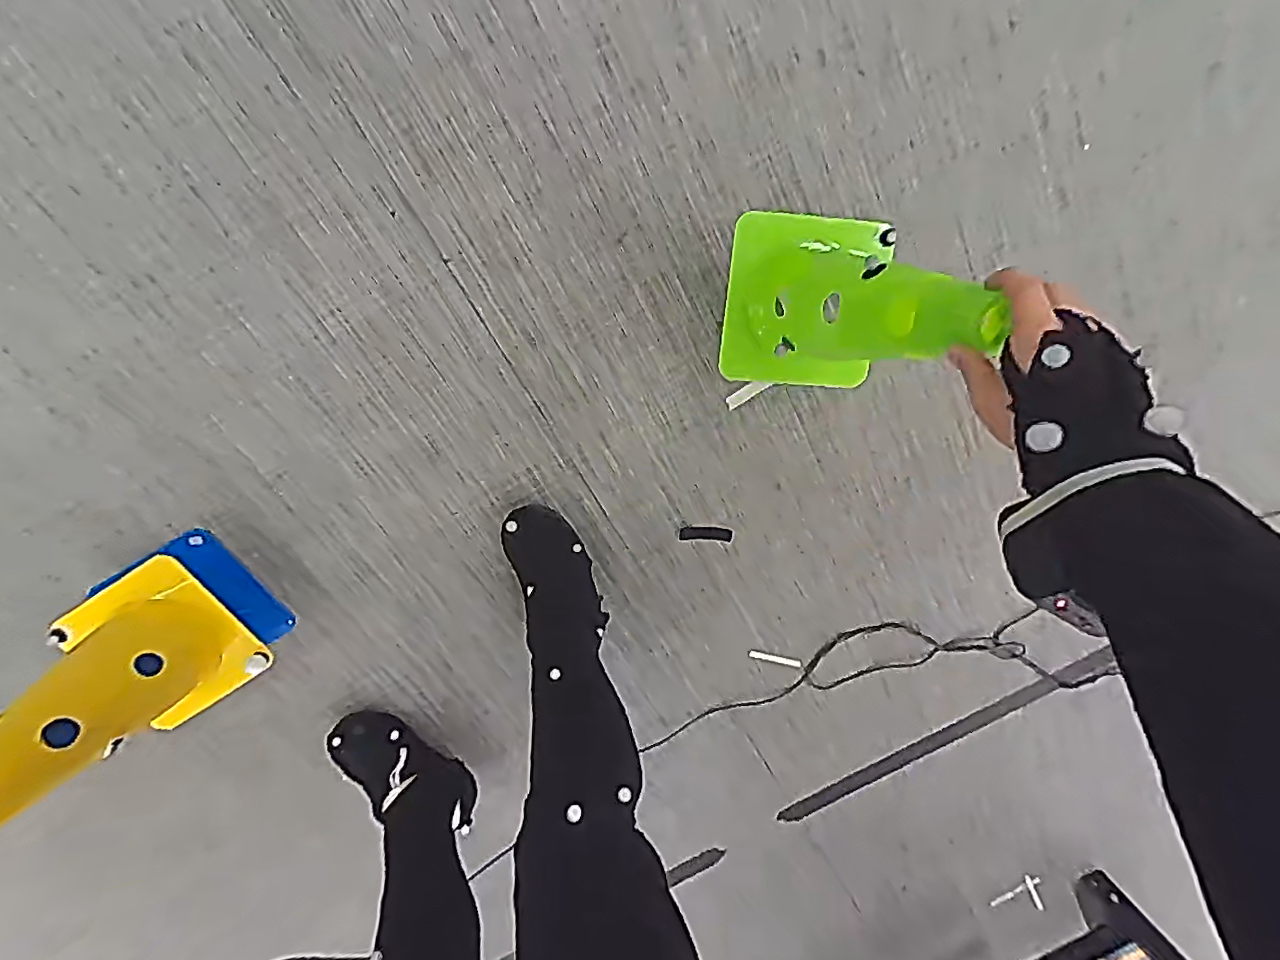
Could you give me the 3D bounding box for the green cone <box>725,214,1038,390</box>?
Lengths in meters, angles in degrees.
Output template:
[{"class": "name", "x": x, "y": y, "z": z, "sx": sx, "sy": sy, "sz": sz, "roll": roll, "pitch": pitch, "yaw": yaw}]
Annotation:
[{"class": "green cone", "x": 0.223, "y": -0.155, "z": 0.513, "sx": 0.200, "sy": 0.368, "sz": 0.202, "roll": 2, "pitch": 110, "yaw": -5}]
